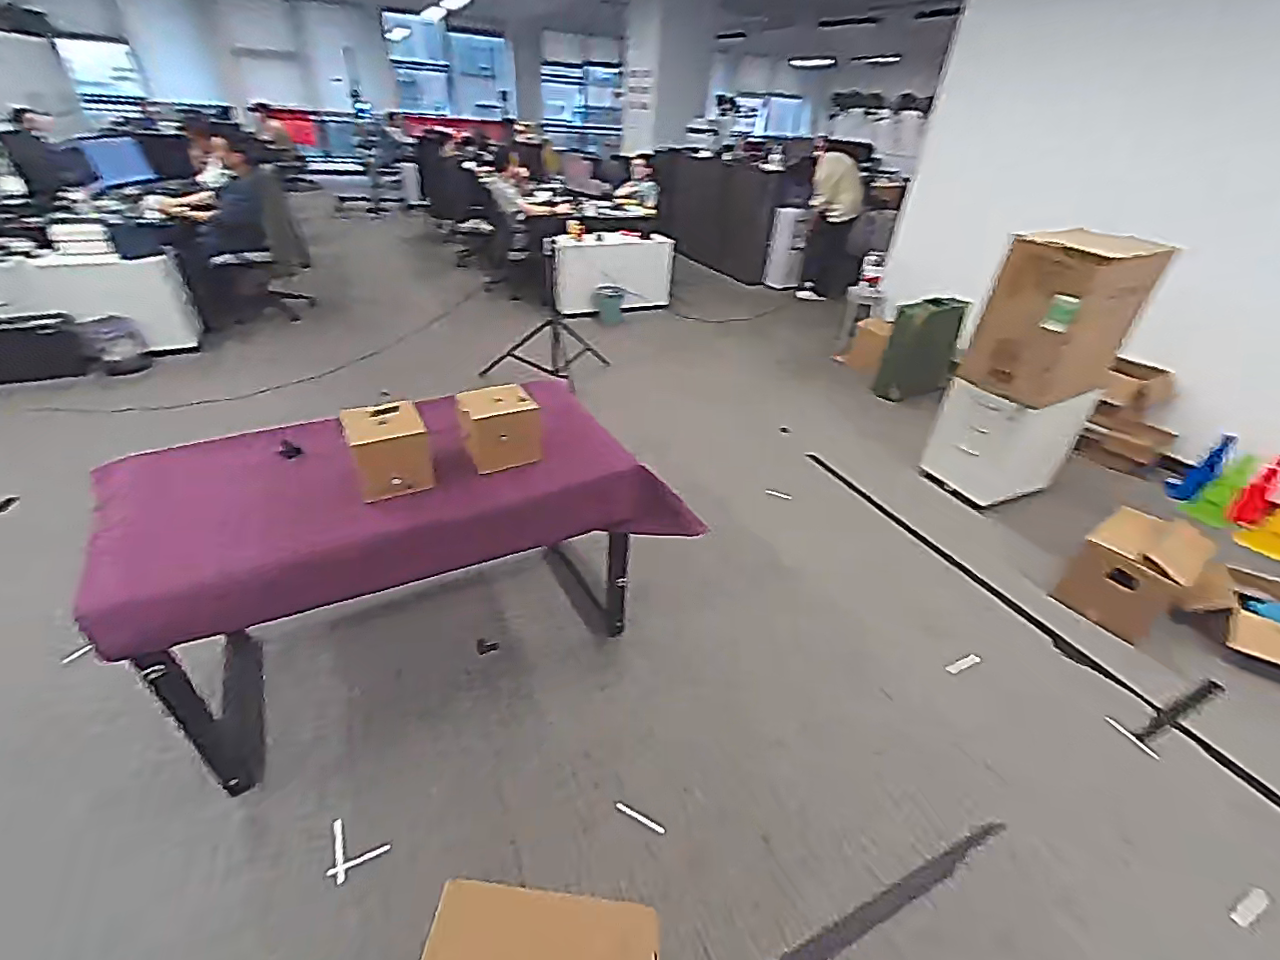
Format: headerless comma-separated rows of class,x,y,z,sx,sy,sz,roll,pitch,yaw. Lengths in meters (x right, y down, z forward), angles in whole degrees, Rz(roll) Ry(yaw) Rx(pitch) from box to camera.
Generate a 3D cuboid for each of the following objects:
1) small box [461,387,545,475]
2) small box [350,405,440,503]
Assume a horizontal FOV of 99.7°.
small box,-0.374,-0.134,1.488,0.179,0.176,0.168,-17,39,-26
small box,-0.617,-0.067,1.364,0.168,0.176,0.179,-15,39,-26
